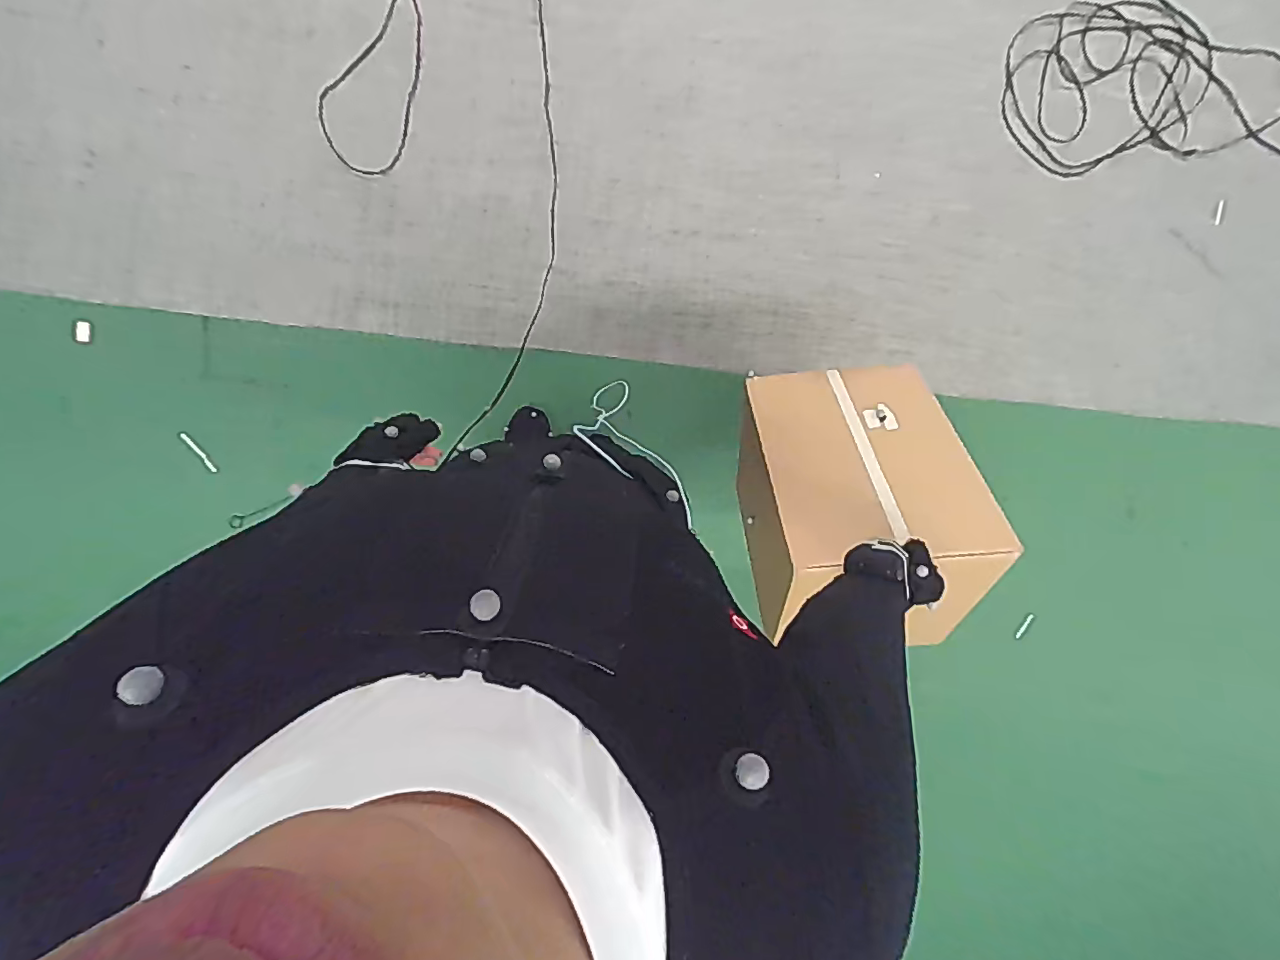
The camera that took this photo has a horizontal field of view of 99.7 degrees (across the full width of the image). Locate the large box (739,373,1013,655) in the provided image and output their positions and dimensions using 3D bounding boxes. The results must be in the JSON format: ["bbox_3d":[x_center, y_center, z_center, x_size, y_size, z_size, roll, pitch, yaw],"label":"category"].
[{"bbox_3d":[0.372,0.062,0.993,0.320,0.408,0.320,-4,139,2],"label":"large box"}]
